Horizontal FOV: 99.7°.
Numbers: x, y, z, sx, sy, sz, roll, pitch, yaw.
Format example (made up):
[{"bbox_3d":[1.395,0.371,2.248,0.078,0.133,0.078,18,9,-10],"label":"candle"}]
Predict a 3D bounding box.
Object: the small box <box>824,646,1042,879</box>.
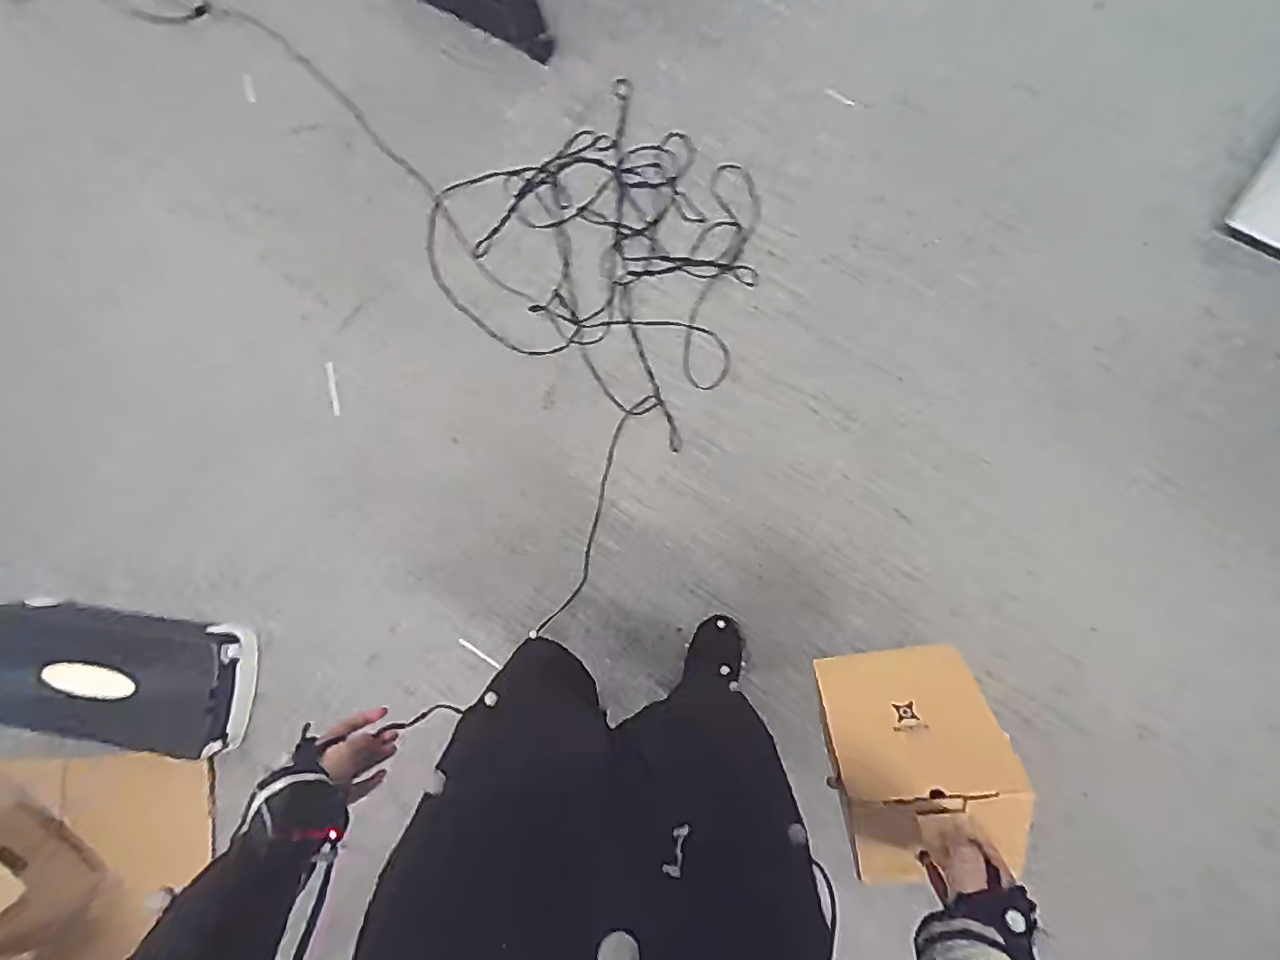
[{"bbox_3d":[0.316,0.321,0.622,0.168,0.179,0.176,-10,122,11],"label":"small box"}]
